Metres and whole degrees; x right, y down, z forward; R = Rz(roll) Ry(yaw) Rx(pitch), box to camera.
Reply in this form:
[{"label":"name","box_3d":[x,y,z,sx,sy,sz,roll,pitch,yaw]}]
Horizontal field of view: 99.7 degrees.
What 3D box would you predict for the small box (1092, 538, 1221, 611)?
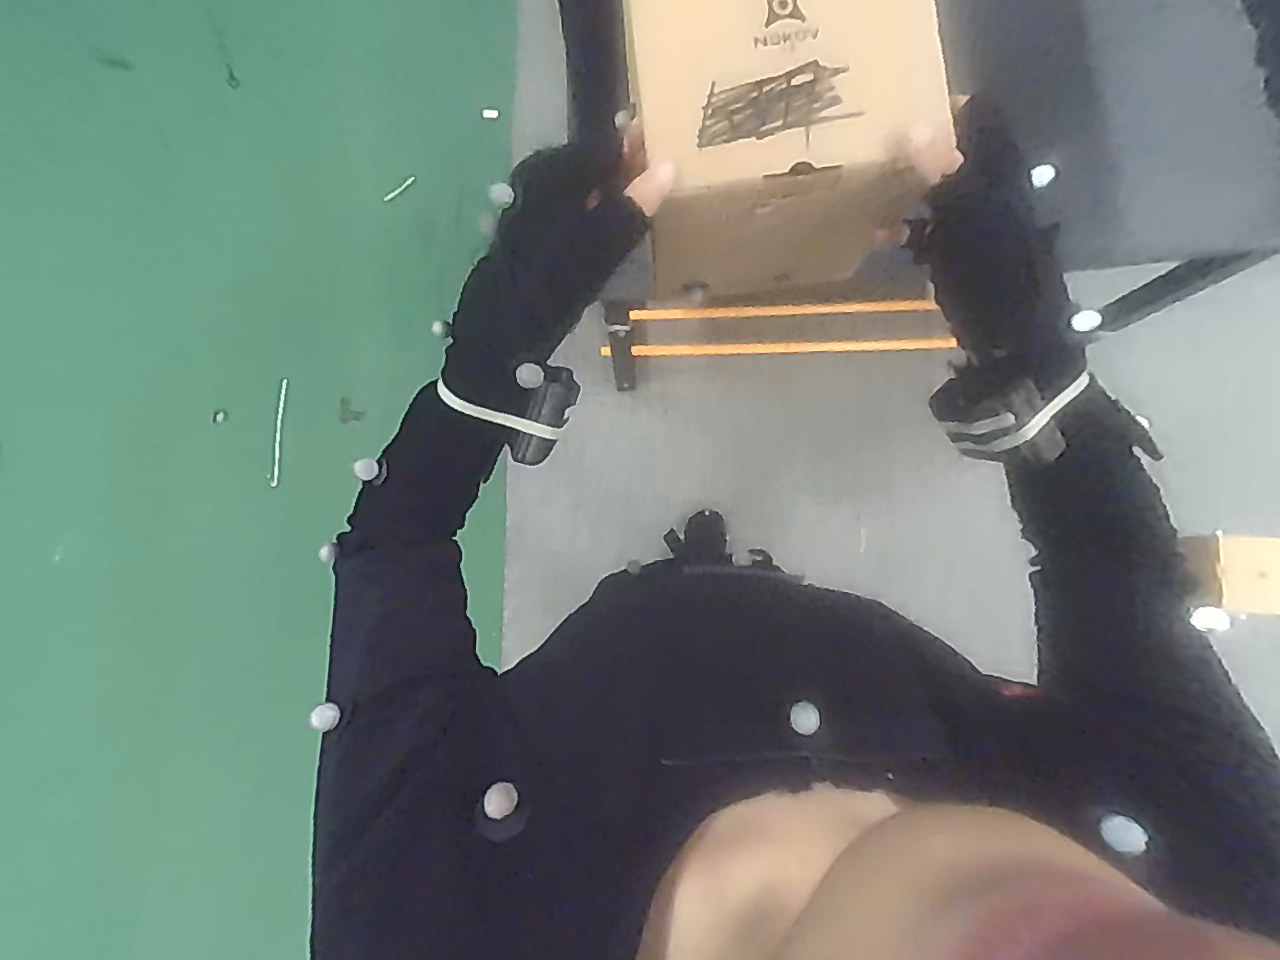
[{"label":"small box","box_3d":[1.325,0.242,1.398,0.179,0.176,0.168,4,81,1]}]
